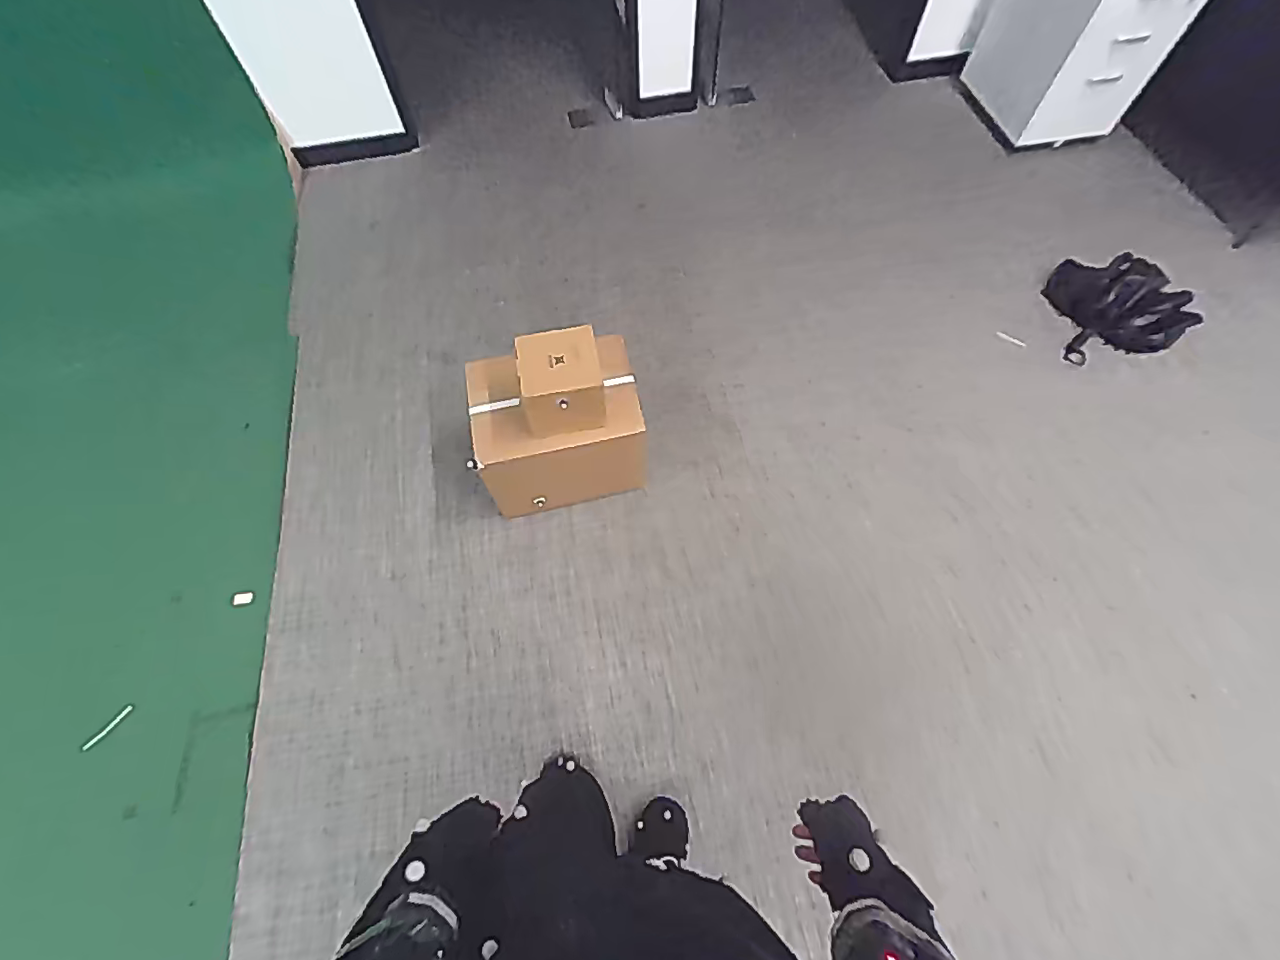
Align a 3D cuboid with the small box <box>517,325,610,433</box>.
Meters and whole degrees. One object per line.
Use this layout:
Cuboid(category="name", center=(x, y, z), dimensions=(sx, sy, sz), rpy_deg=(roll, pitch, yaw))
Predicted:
Cuboid(category="small box", center=(-0.170, -0.222, 1.229), dimensions=(0.179, 0.176, 0.168), rpy_deg=(-10, 65, -5))
